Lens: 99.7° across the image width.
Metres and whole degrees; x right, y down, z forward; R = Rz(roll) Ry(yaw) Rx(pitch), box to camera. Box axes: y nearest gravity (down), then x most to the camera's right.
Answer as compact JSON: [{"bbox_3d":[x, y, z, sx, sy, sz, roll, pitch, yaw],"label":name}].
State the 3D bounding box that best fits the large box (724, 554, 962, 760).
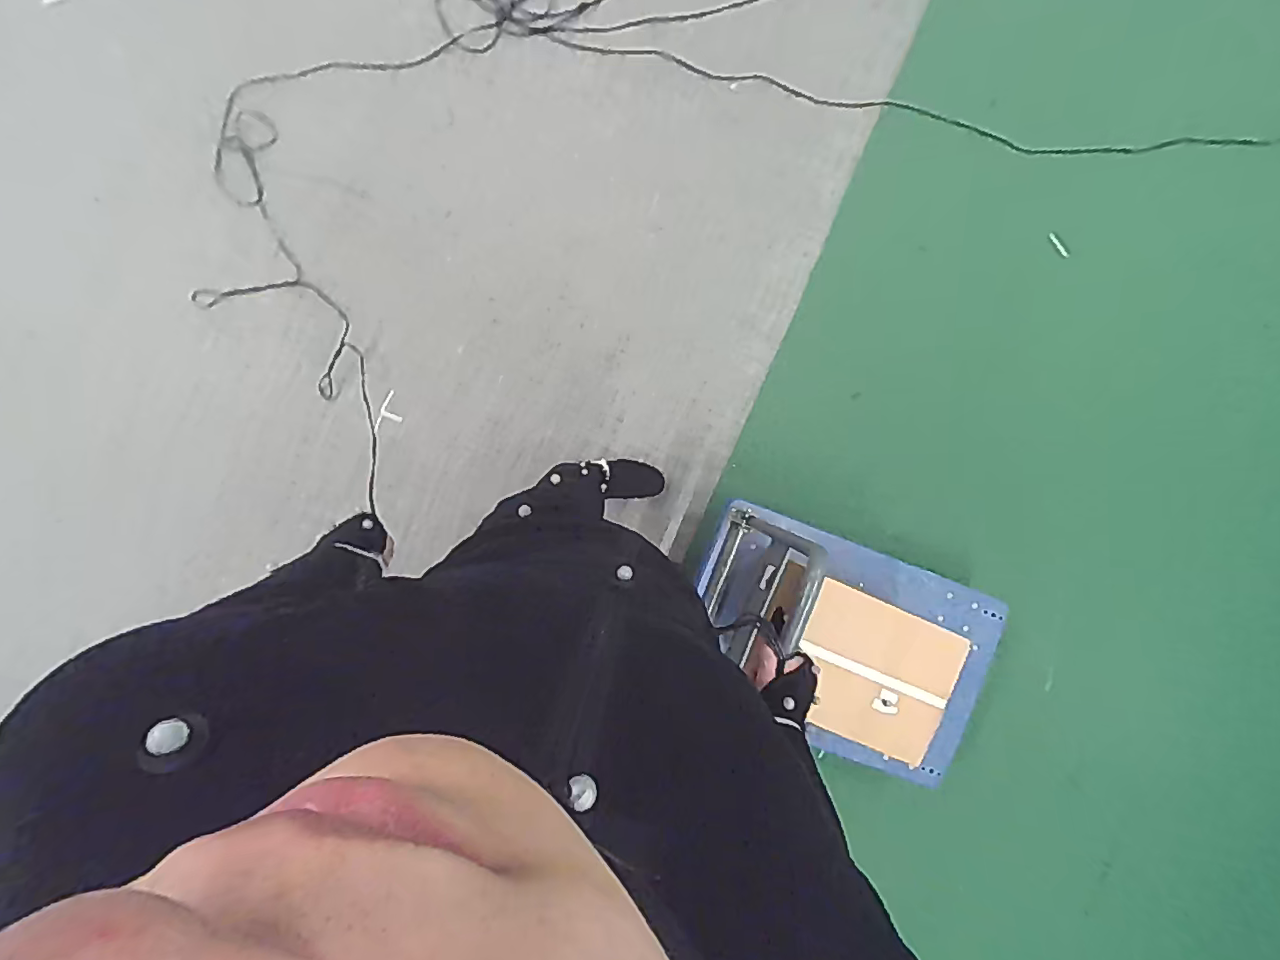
[{"bbox_3d":[0.478,0.416,1.355,0.408,0.320,0.320,24,90,-6],"label":"large box"}]
